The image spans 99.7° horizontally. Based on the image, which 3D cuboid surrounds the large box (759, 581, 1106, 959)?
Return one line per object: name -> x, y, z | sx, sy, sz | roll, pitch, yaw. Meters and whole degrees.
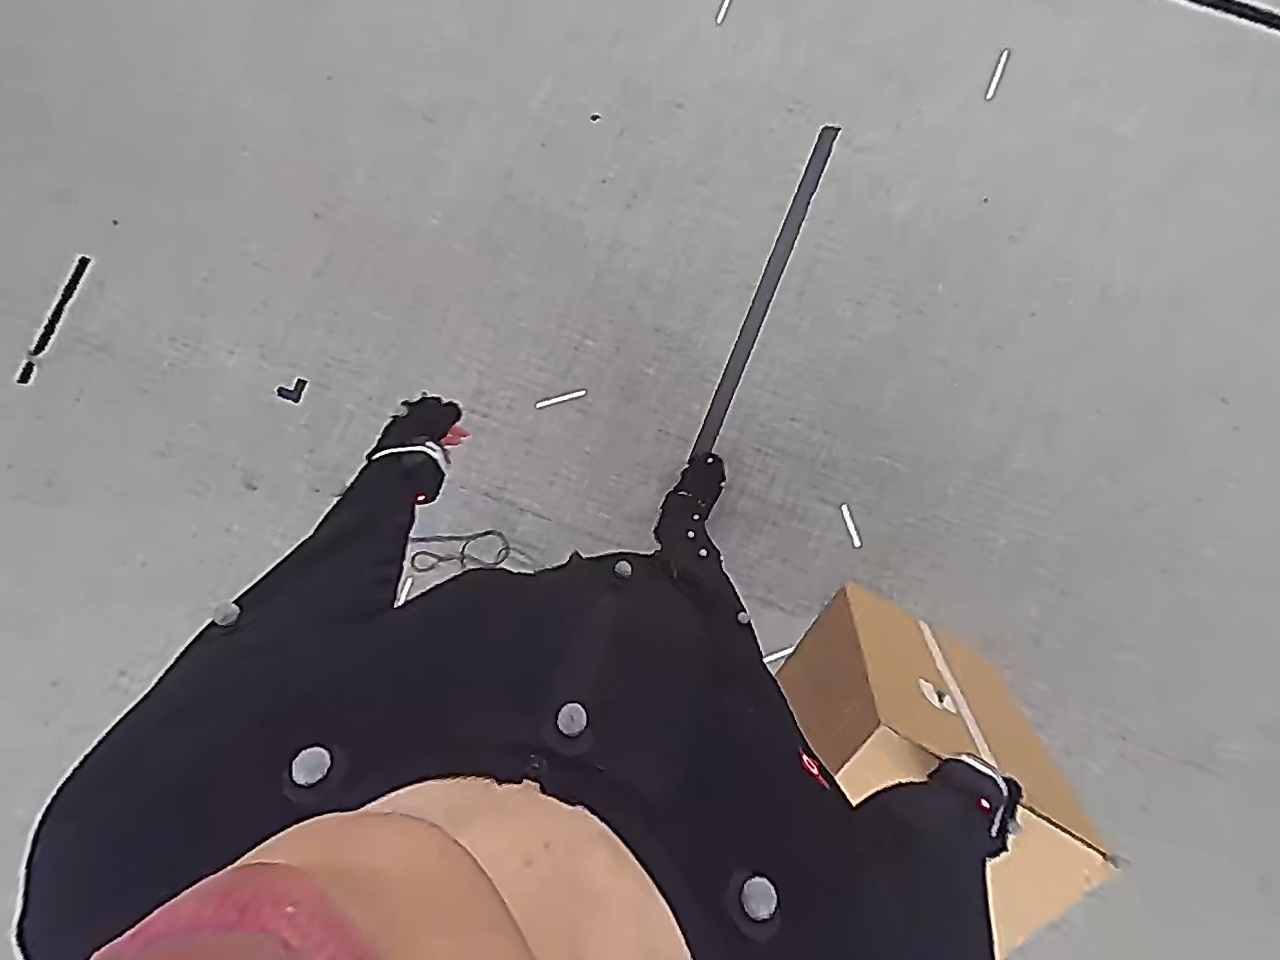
large box -> 0.408, 0.443, 0.896 | 0.320, 0.408, 0.320 | 29, 110, 5
